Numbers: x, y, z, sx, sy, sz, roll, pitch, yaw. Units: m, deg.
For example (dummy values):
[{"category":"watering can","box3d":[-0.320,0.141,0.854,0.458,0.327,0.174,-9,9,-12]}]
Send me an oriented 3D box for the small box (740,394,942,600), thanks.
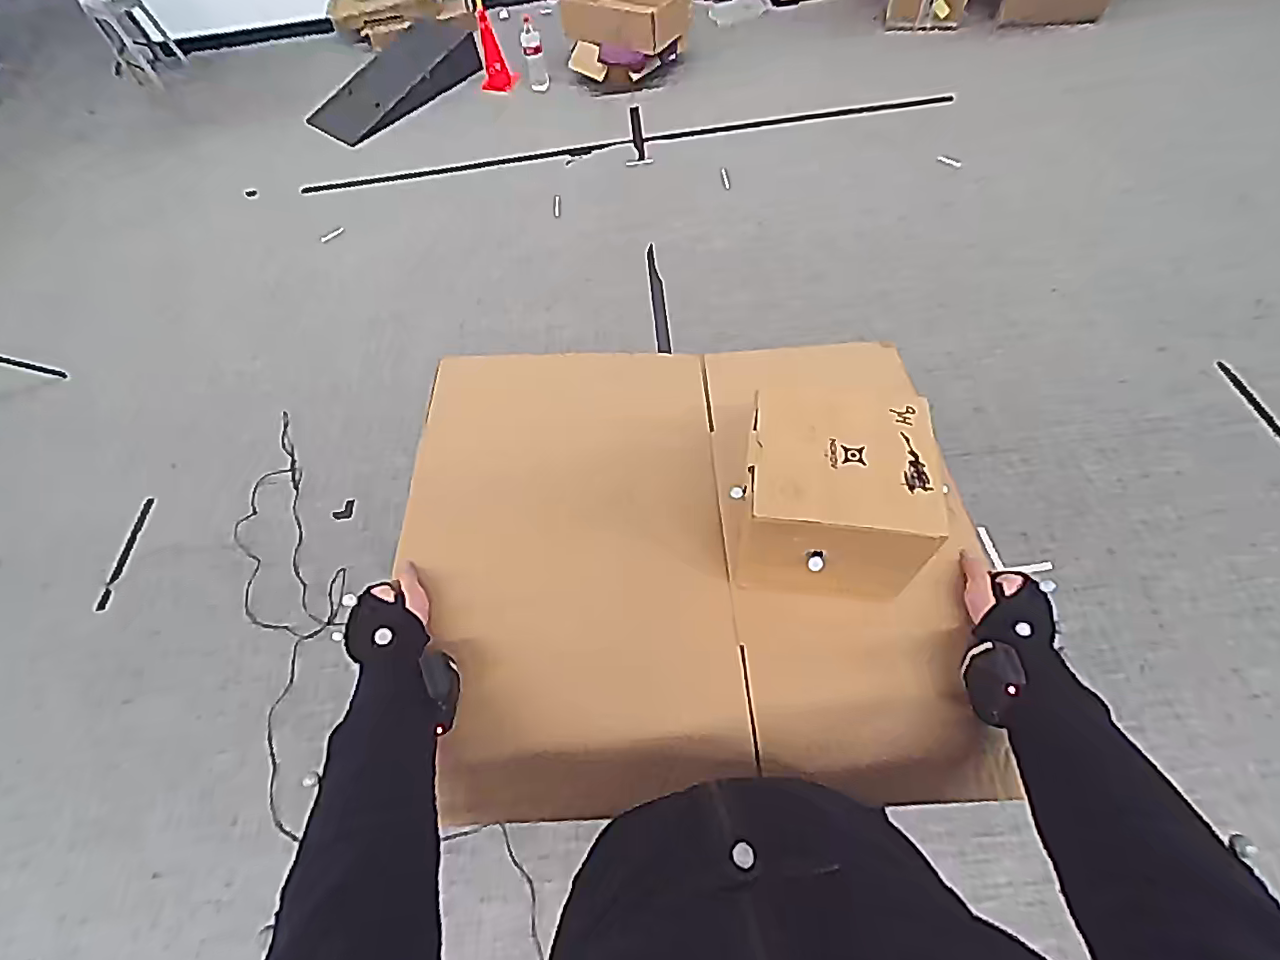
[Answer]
[{"category":"small box","box3d":[0.207,0.024,0.606,0.179,0.176,0.168,5,58,9]}]
